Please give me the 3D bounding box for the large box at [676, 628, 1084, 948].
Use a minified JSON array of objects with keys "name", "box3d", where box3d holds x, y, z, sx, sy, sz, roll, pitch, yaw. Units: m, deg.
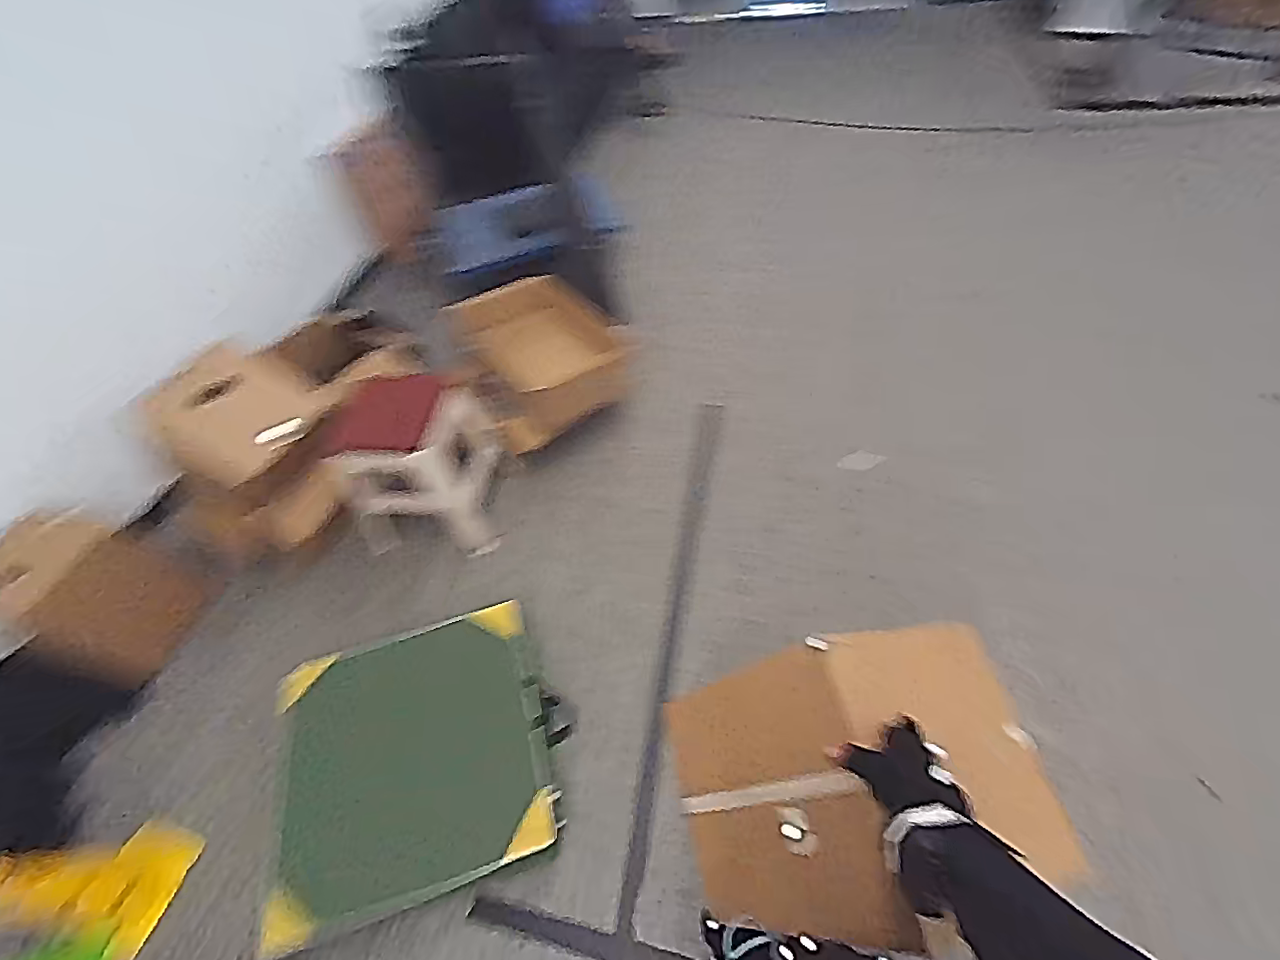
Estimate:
[{"name":"large box","box3d":[0.306,0.438,0.810,0.320,0.408,0.320,3,57,-28]}]
